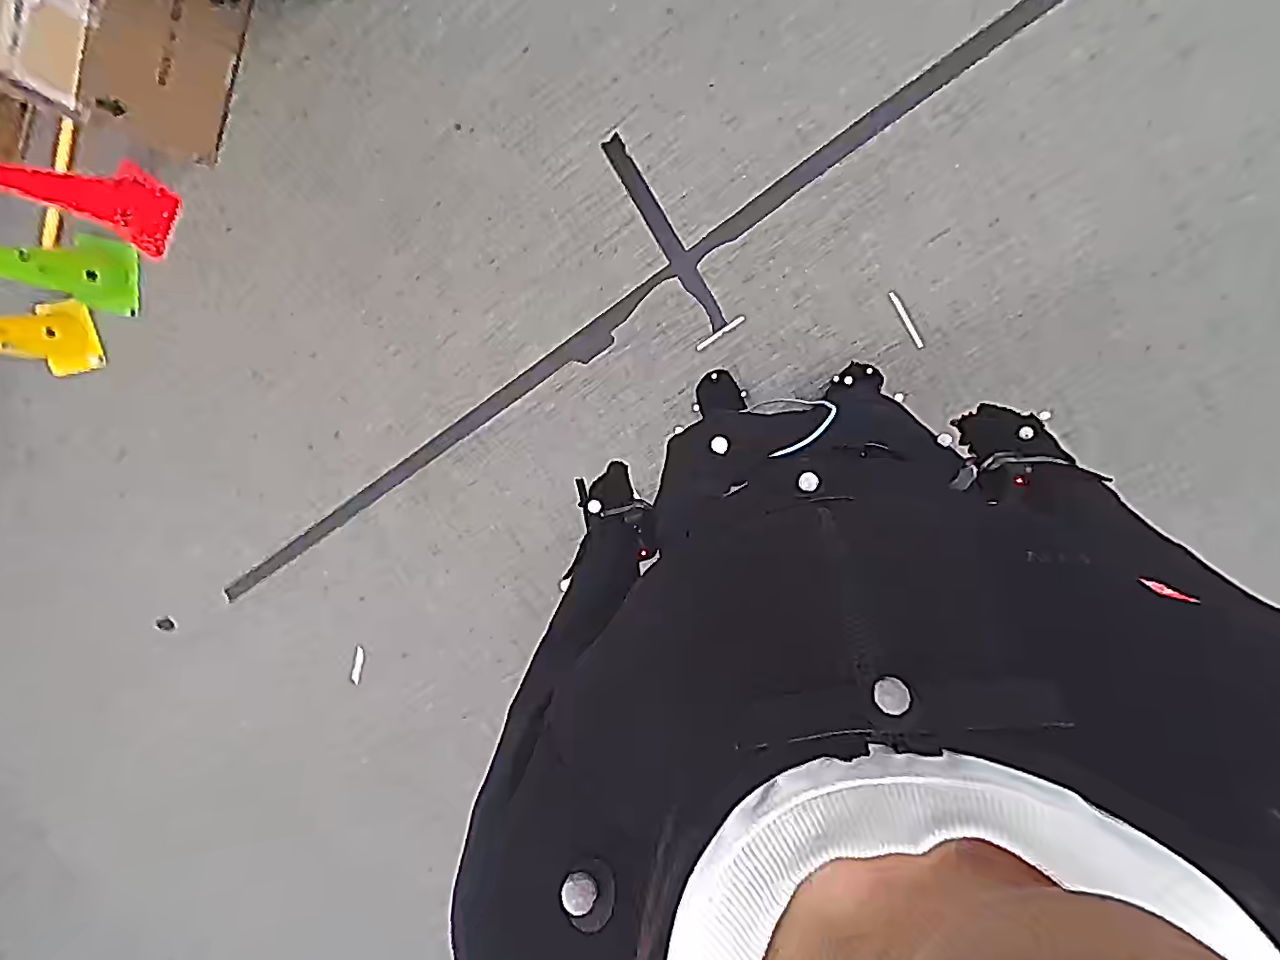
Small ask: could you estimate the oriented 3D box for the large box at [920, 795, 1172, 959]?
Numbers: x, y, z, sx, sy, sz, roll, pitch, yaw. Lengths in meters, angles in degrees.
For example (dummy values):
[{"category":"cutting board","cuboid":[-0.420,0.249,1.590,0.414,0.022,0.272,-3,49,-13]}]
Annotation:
[{"category":"large box","cuboid":[1.052,1.140,1.429,0.408,0.320,0.320,-34,97,12]}]
